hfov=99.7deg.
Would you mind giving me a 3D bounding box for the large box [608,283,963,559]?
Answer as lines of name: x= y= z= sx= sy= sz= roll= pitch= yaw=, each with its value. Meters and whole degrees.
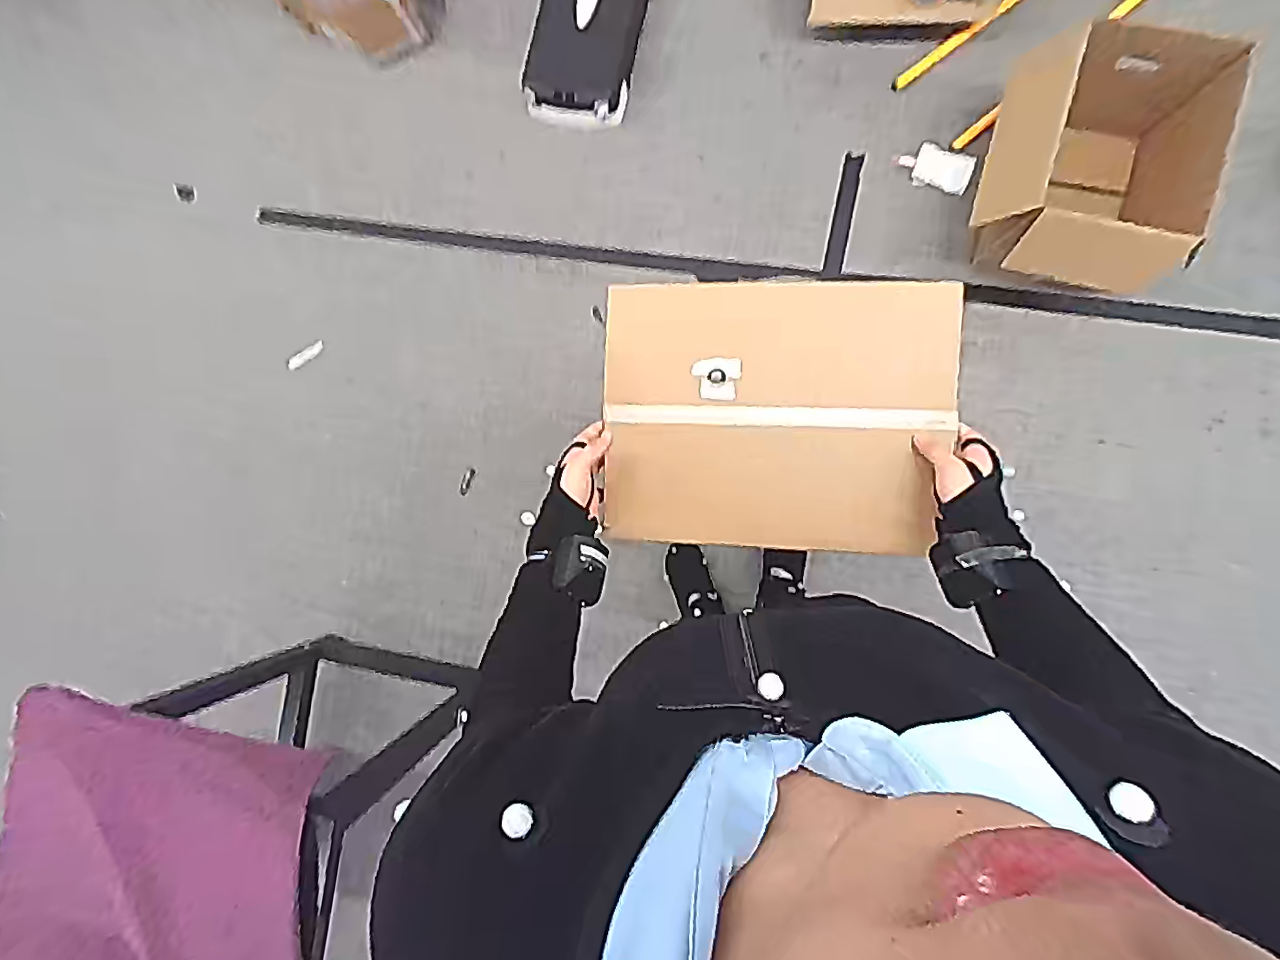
large box: x=0.183 y=-0.078 z=0.779 sx=0.408 sy=0.320 sz=0.320 roll=2 pitch=93 yaw=9
